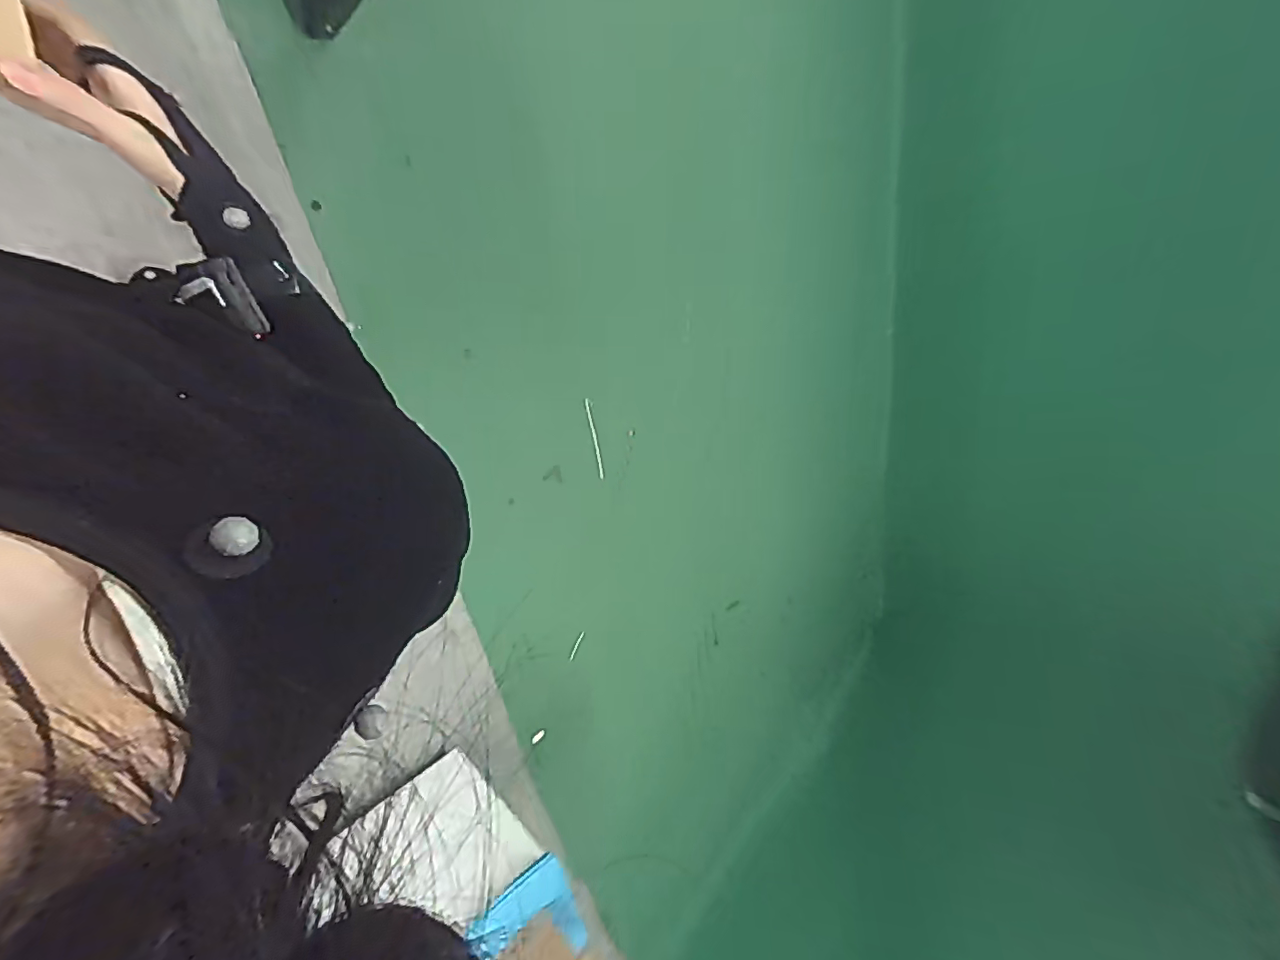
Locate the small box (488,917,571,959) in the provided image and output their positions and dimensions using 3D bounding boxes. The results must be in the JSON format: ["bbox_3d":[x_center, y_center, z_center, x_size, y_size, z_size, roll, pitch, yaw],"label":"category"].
[{"bbox_3d":[-0.263,1.234,1.327,0.168,0.176,0.179,-28,121,-36],"label":"small box"}]
